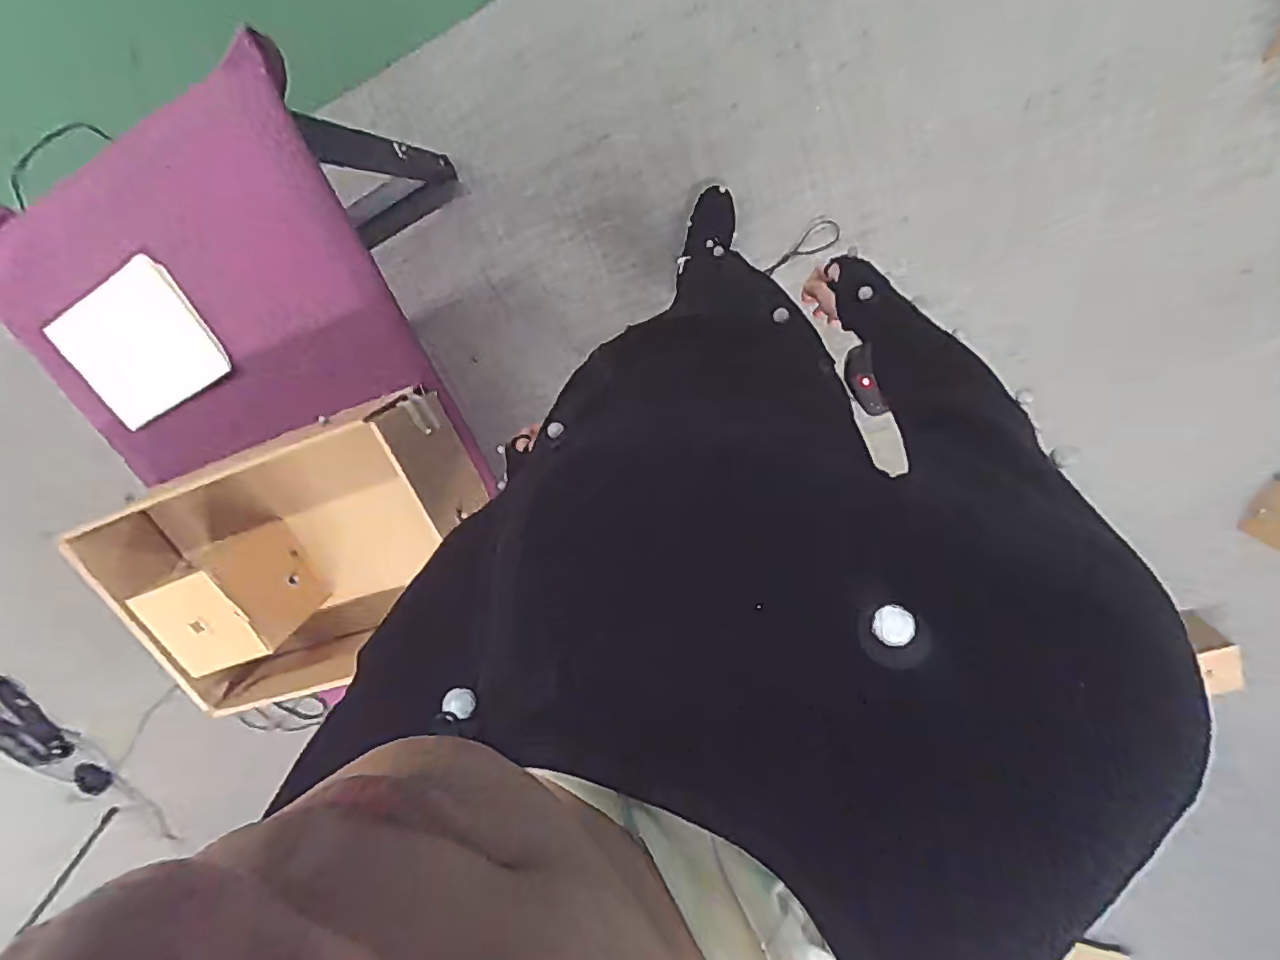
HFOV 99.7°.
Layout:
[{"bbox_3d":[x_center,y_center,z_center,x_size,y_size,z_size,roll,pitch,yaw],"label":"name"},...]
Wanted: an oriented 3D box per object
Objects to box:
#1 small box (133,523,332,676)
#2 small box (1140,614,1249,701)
[{"bbox_3d":[-0.682,0.199,0.928,0.179,0.176,0.168,-20,109,13],"label":"small box"},{"bbox_3d":[1.683,0.533,1.651,0.168,0.176,0.179,-22,110,17],"label":"small box"}]
